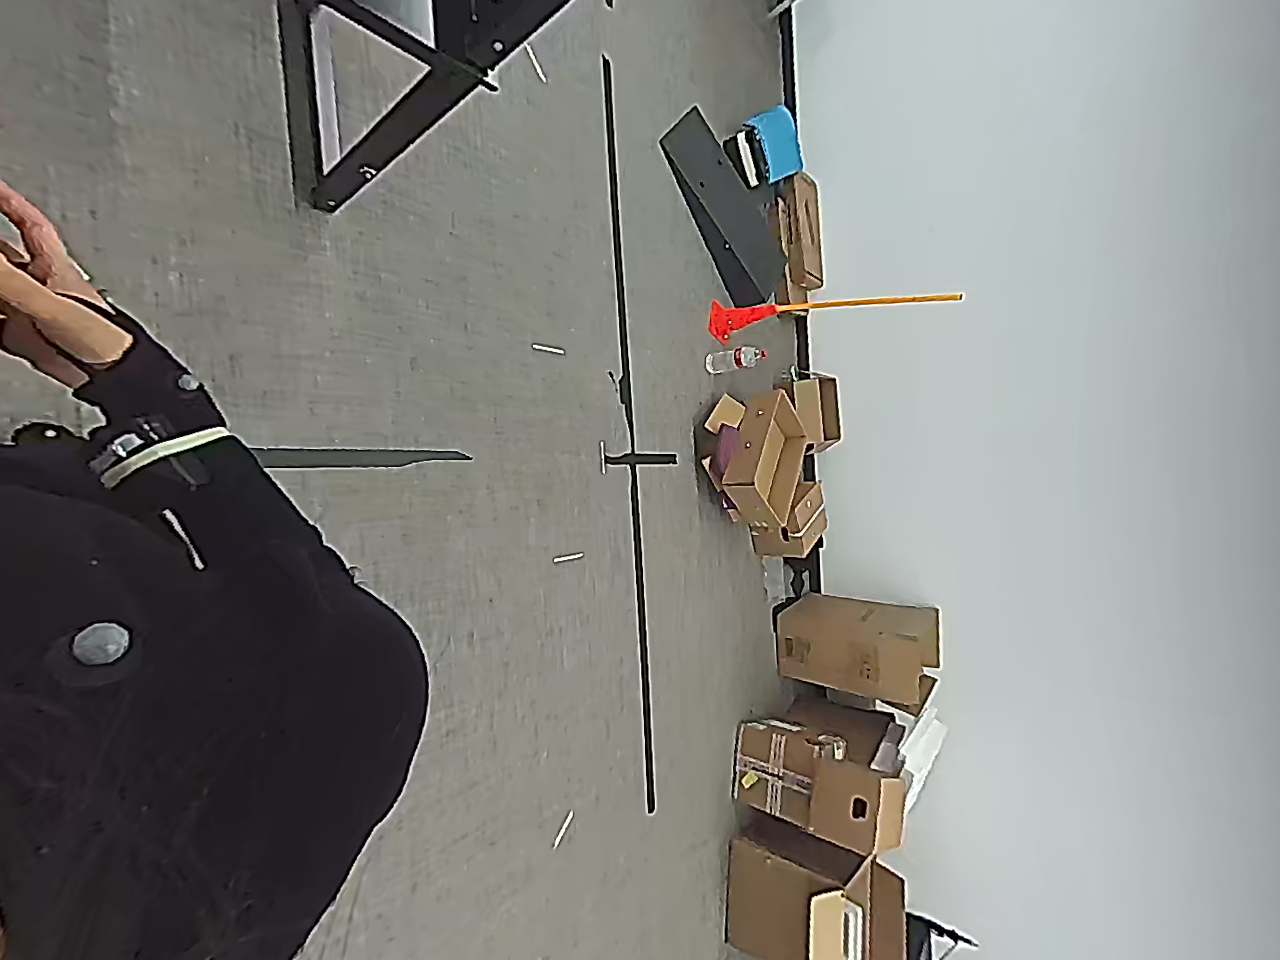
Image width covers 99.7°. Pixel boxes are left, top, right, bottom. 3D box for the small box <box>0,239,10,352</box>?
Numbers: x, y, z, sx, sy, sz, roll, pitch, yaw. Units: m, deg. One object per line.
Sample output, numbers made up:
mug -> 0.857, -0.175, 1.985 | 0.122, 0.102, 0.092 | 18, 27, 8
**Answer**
small box -> -0.440, -0.152, 0.258 | 0.168, 0.176, 0.179 | -7, 94, -51
